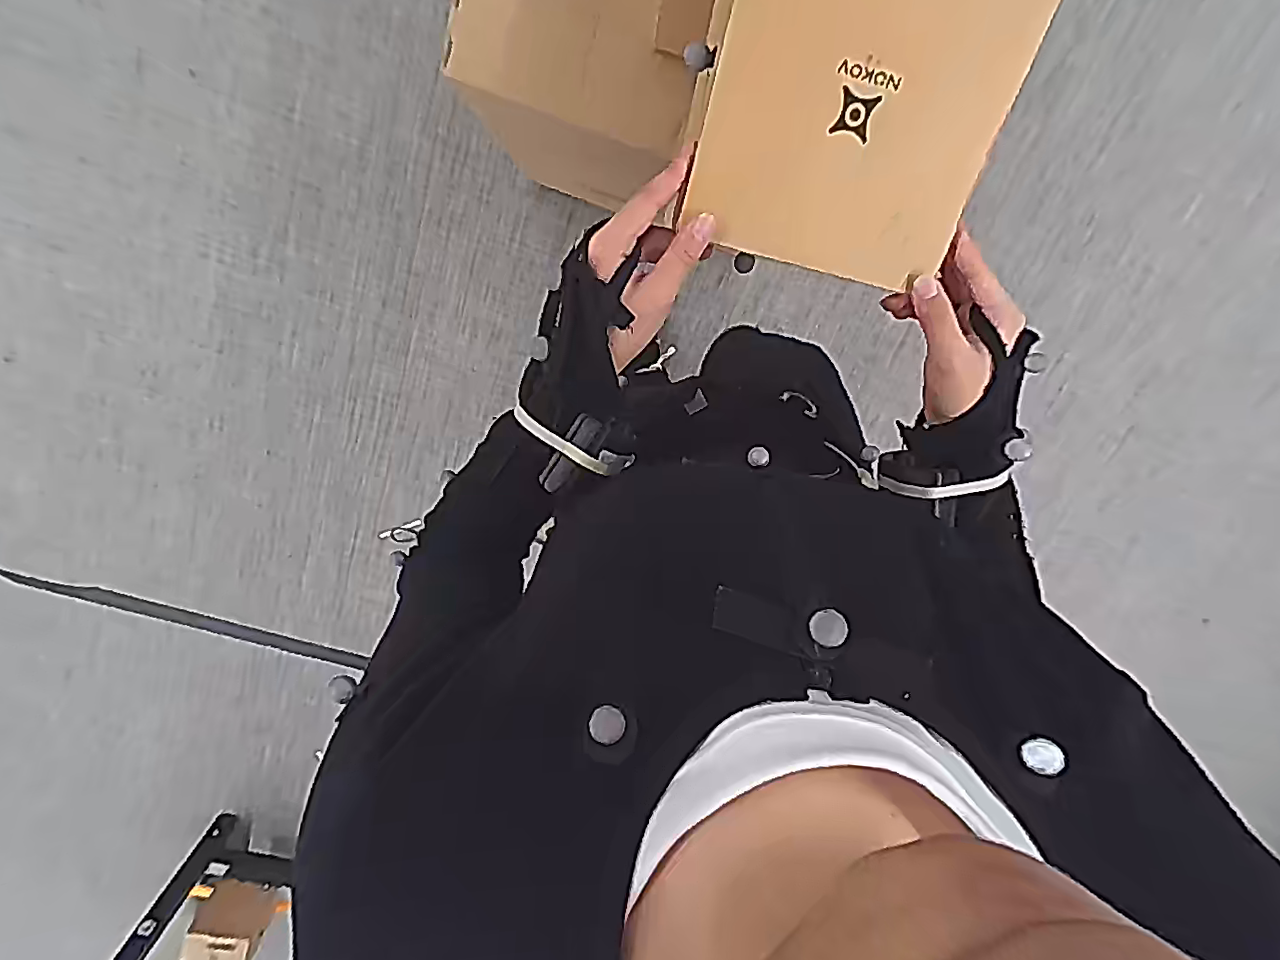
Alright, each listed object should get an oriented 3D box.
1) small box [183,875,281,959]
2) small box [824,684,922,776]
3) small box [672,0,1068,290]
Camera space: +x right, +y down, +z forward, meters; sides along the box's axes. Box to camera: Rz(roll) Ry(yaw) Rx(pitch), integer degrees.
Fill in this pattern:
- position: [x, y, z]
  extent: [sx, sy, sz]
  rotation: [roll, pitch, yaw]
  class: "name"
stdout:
- position: [-1.180, 1.295, 1.571]
  extent: [0.168, 0.176, 0.179]
  rotation: [18, 108, -10]
  class: "small box"
- position: [0.675, 0.727, 1.587]
  extent: [0.179, 0.176, 0.168]
  rotation: [16, 107, -8]
  class: "small box"
- position: [0.120, -0.243, 0.357]
  extent: [0.168, 0.176, 0.179]
  rotation: [12, 115, -6]
  class: "small box"
